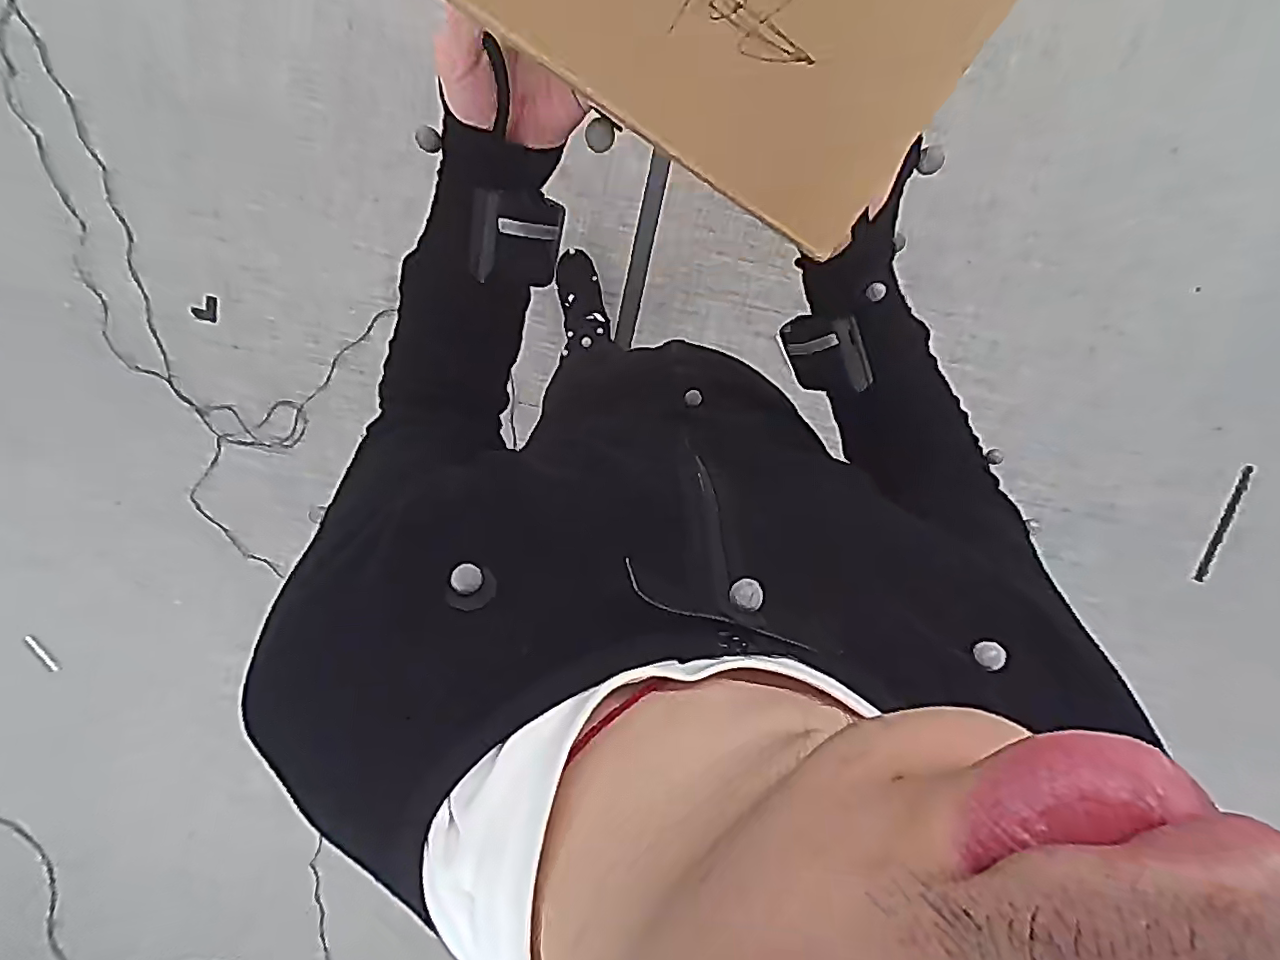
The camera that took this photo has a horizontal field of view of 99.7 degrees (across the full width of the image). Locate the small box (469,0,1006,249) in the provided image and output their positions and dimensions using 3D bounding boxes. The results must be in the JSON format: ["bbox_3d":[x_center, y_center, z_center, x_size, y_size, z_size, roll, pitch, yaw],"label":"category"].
[{"bbox_3d":[0.044,-0.233,0.222,0.168,0.176,0.179,24,120,-18],"label":"small box"}]
